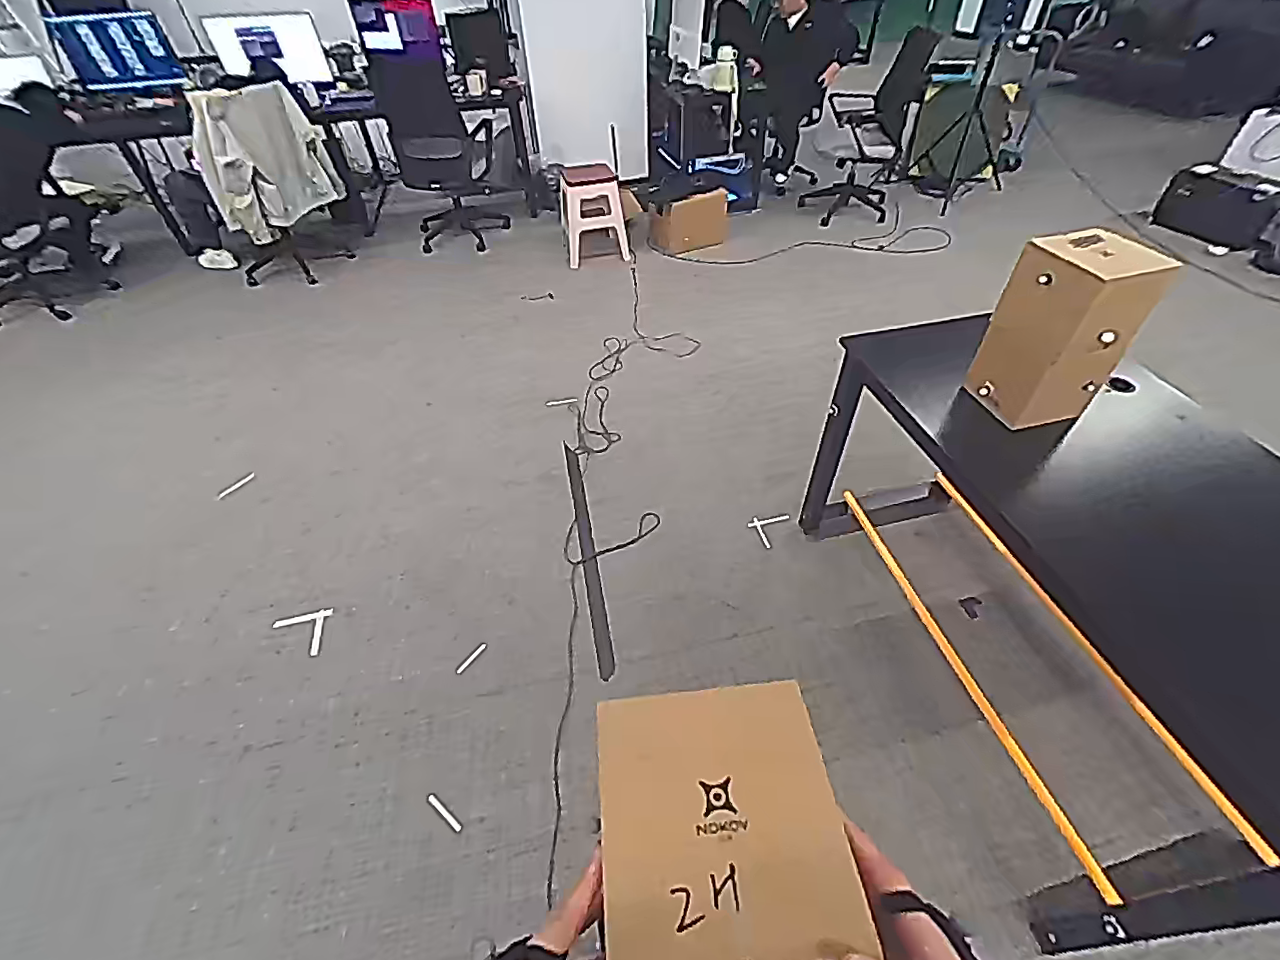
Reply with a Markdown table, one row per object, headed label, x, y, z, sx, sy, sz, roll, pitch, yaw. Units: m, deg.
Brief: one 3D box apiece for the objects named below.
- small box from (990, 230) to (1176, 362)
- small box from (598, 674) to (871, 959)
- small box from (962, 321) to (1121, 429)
| label | x | y | z | sx | sy | sz | roll | pitch | yaw |
| --- | --- | --- | --- | --- | --- | --- | --- | --- | --- |
| small box | 0.812 | -0.346 | 1.017 | 0.168 | 0.176 | 0.179 | -13 | 47 | -10 |
| small box | 0.055 | 0.284 | 0.438 | 0.168 | 0.176 | 0.179 | -6 | 44 | -2 |
| small box | 0.825 | -0.231 | 1.134 | 0.179 | 0.176 | 0.168 | -13 | 46 | -8 |
